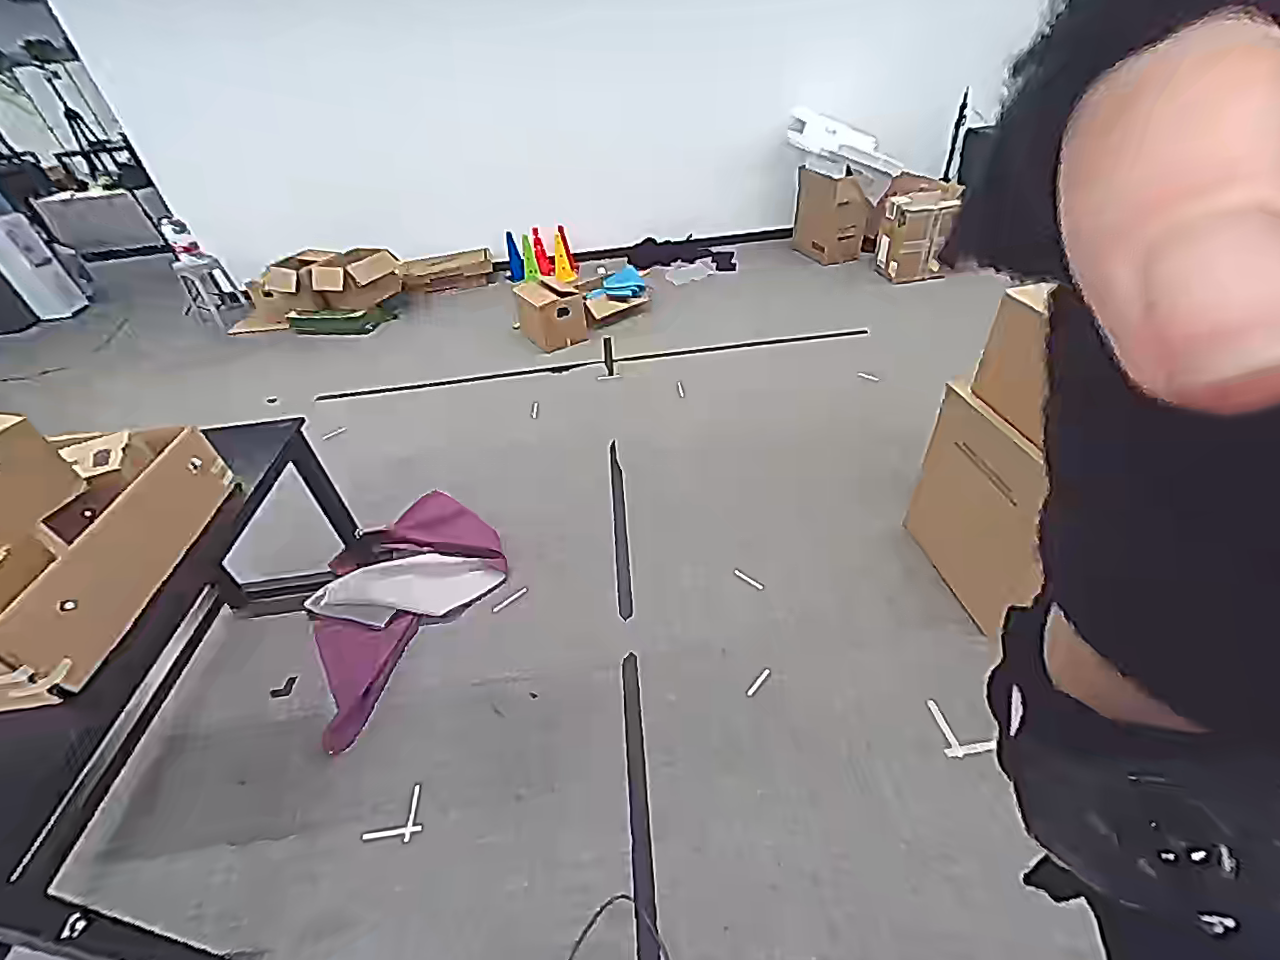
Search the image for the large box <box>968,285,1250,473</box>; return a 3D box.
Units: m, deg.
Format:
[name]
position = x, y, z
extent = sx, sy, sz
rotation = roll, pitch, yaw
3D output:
[large box]
position = 1.160, -0.274, 1.411
extent = 0.320, 0.320, 0.408
rotation = -9, 40, -3
